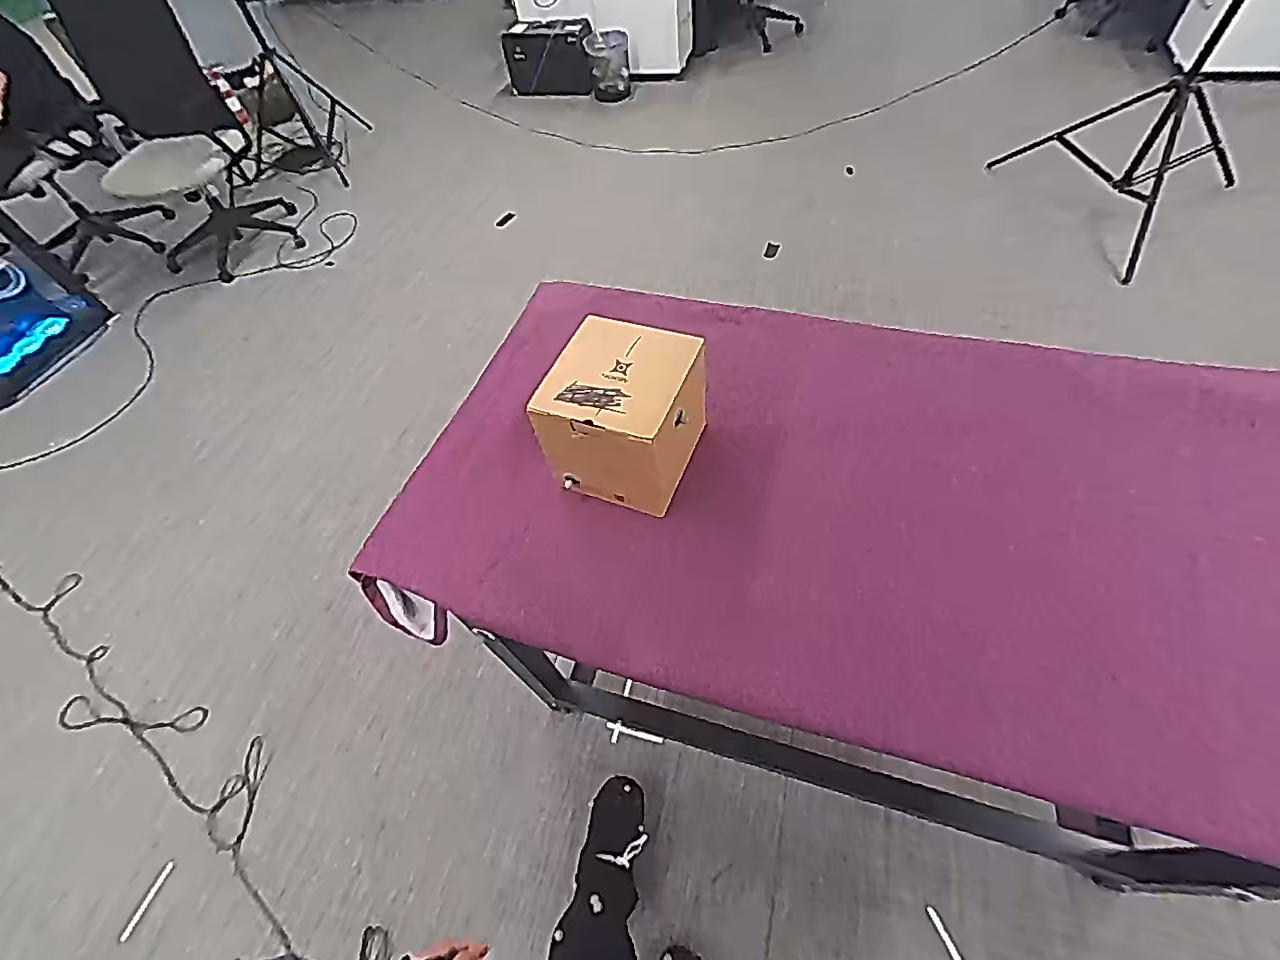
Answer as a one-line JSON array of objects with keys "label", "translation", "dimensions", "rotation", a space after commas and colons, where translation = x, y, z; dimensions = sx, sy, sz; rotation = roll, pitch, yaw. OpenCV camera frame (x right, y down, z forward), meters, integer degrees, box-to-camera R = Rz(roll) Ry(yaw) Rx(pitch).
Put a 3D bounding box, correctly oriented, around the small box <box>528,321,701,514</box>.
[{"label": "small box", "translation": [-0.020, -0.080, 0.723], "dimensions": [0.168, 0.176, 0.179], "rotation": [16, 58, 17]}]
